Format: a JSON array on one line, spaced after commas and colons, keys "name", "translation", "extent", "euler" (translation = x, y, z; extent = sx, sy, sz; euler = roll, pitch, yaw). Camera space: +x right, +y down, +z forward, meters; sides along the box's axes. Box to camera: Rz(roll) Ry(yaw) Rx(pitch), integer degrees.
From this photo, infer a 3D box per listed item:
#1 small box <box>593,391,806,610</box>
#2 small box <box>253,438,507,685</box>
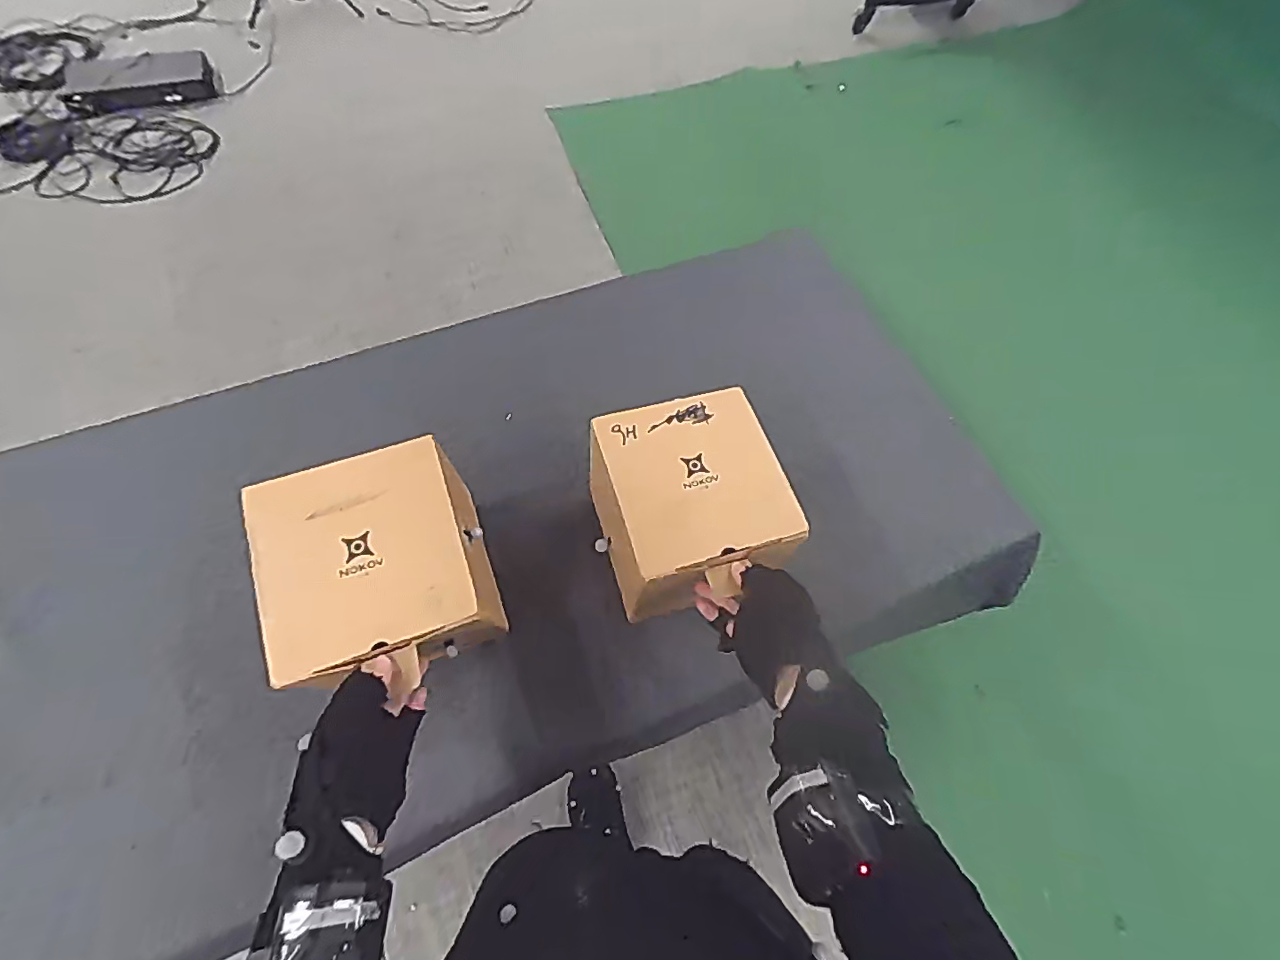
[{"name": "small box", "translation": [0.049, 0.032, 0.594], "extent": [0.168, 0.176, 0.179], "euler": [-12, 65, -14]}, {"name": "small box", "translation": [-0.240, 0.087, 0.537], "extent": [0.168, 0.176, 0.179], "euler": [-18, 72, -13]}]
